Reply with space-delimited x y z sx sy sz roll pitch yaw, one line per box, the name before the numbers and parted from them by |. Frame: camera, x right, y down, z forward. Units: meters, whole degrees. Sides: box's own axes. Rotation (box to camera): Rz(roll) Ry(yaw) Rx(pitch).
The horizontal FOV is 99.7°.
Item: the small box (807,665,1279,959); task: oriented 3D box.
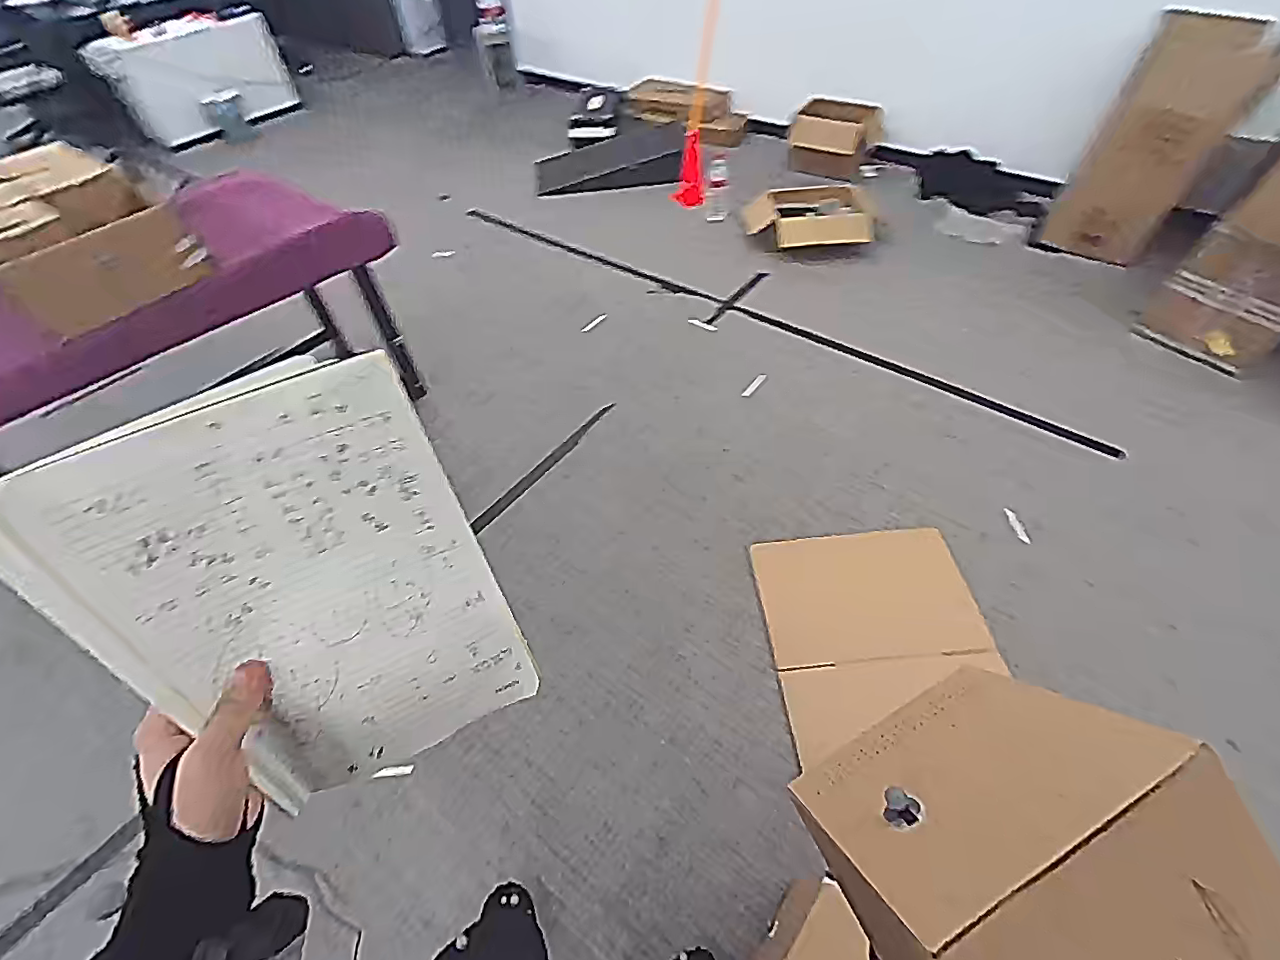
small box | 0.228 0.242 0.327 0.179 0.176 0.168 -30 90 -10
